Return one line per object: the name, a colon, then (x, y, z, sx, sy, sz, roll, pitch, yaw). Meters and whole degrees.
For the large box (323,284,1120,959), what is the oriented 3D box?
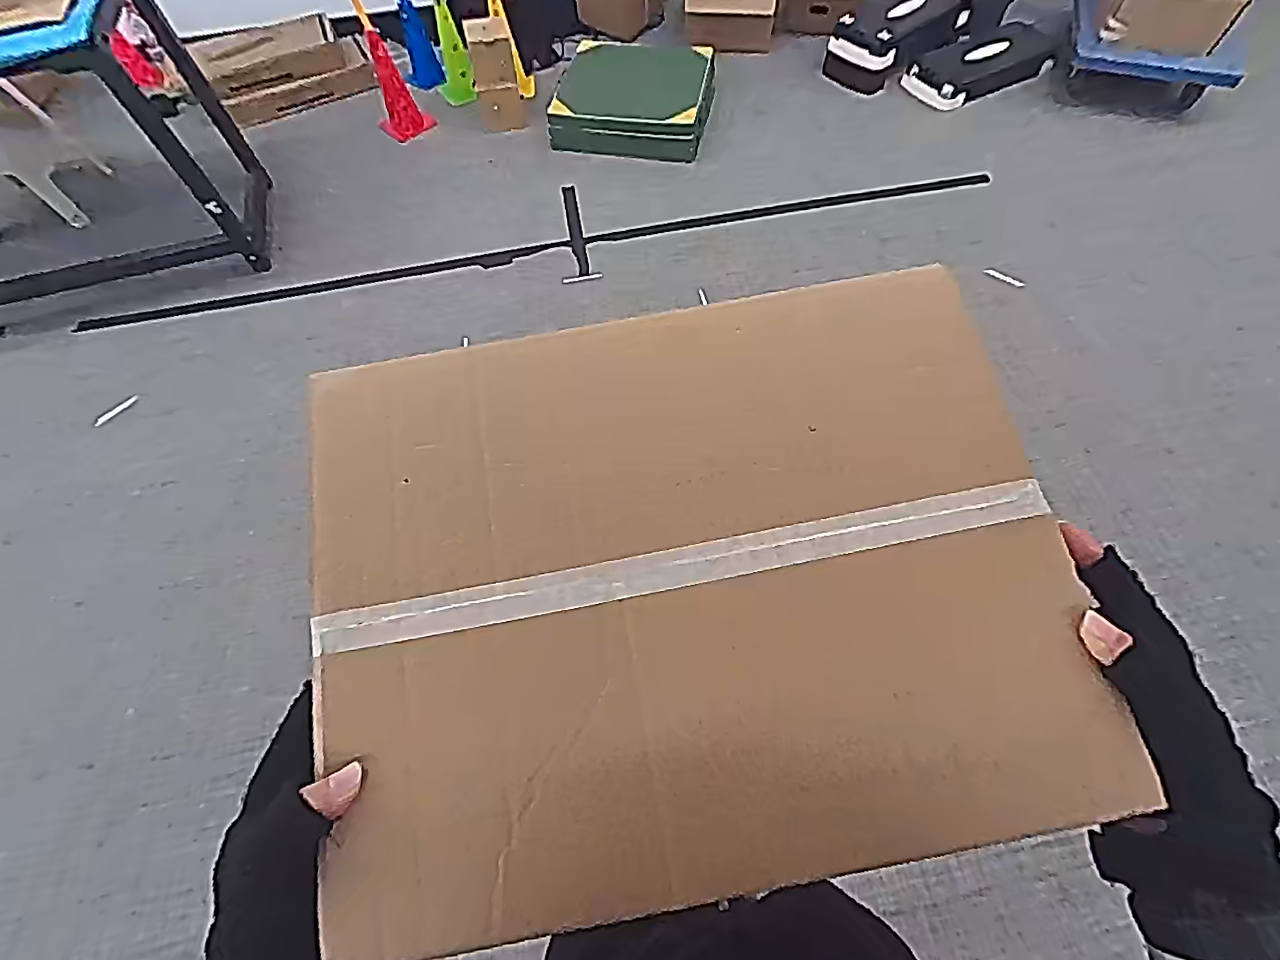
large box: (0.029, 0.093, 0.450, 0.408, 0.320, 0.320, -11, 74, -1)
